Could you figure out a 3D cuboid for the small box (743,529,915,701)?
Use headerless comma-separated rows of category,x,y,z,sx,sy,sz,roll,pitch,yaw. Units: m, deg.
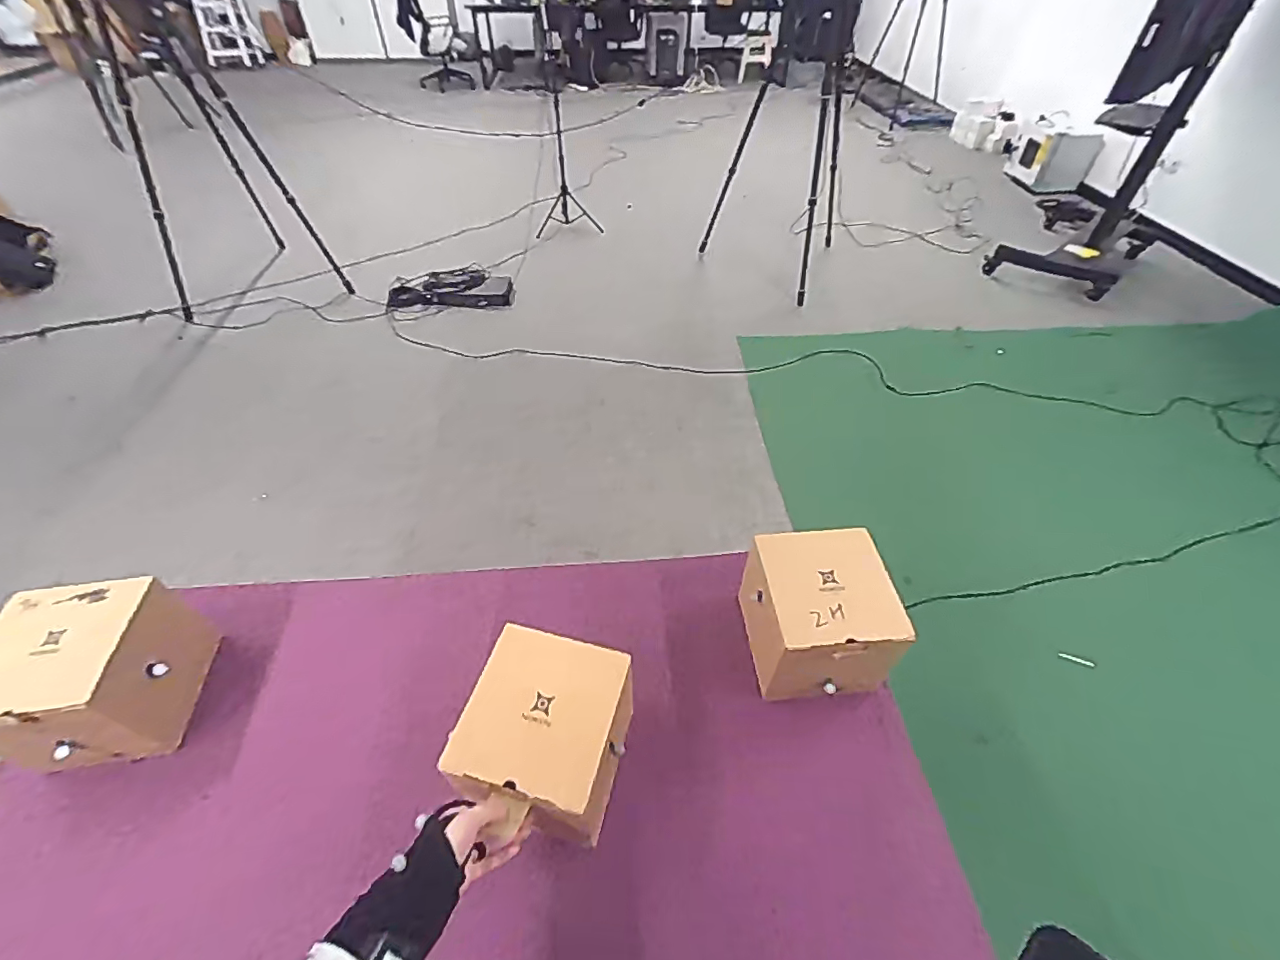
small box,0.251,0.192,0.772,0.168,0.176,0.179,-4,47,-2

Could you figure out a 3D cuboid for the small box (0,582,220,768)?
small box,-0.705,0.261,0.712,0.168,0.176,0.179,-6,48,-7

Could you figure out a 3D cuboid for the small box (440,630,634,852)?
small box,-0.110,0.318,0.660,0.168,0.176,0.179,12,49,11
